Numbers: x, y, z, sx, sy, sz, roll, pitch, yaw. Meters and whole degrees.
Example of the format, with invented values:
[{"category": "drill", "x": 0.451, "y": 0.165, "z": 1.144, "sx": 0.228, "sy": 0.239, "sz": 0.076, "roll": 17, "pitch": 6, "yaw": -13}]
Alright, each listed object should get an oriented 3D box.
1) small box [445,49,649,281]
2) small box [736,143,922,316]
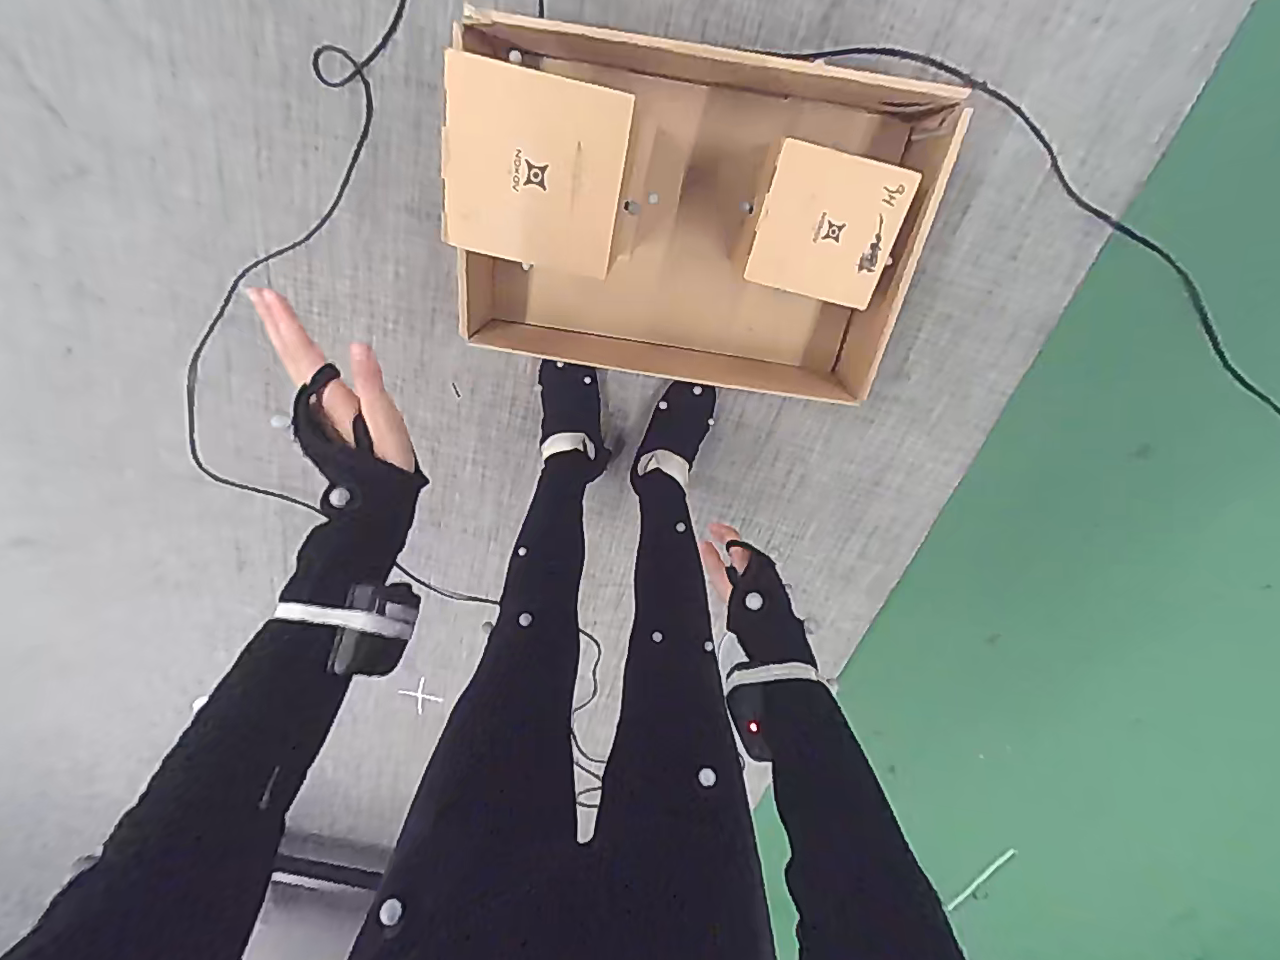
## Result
[{"category": "small box", "x": -0.094, "y": -0.334, "z": 0.592, "sx": 0.179, "sy": 0.176, "sz": 0.168, "roll": 13, "pitch": 120, "yaw": -4}, {"category": "small box", "x": 0.242, "y": -0.345, "z": 0.751, "sx": 0.179, "sy": 0.176, "sz": 0.168, "roll": 14, "pitch": 118, "yaw": -3}]
